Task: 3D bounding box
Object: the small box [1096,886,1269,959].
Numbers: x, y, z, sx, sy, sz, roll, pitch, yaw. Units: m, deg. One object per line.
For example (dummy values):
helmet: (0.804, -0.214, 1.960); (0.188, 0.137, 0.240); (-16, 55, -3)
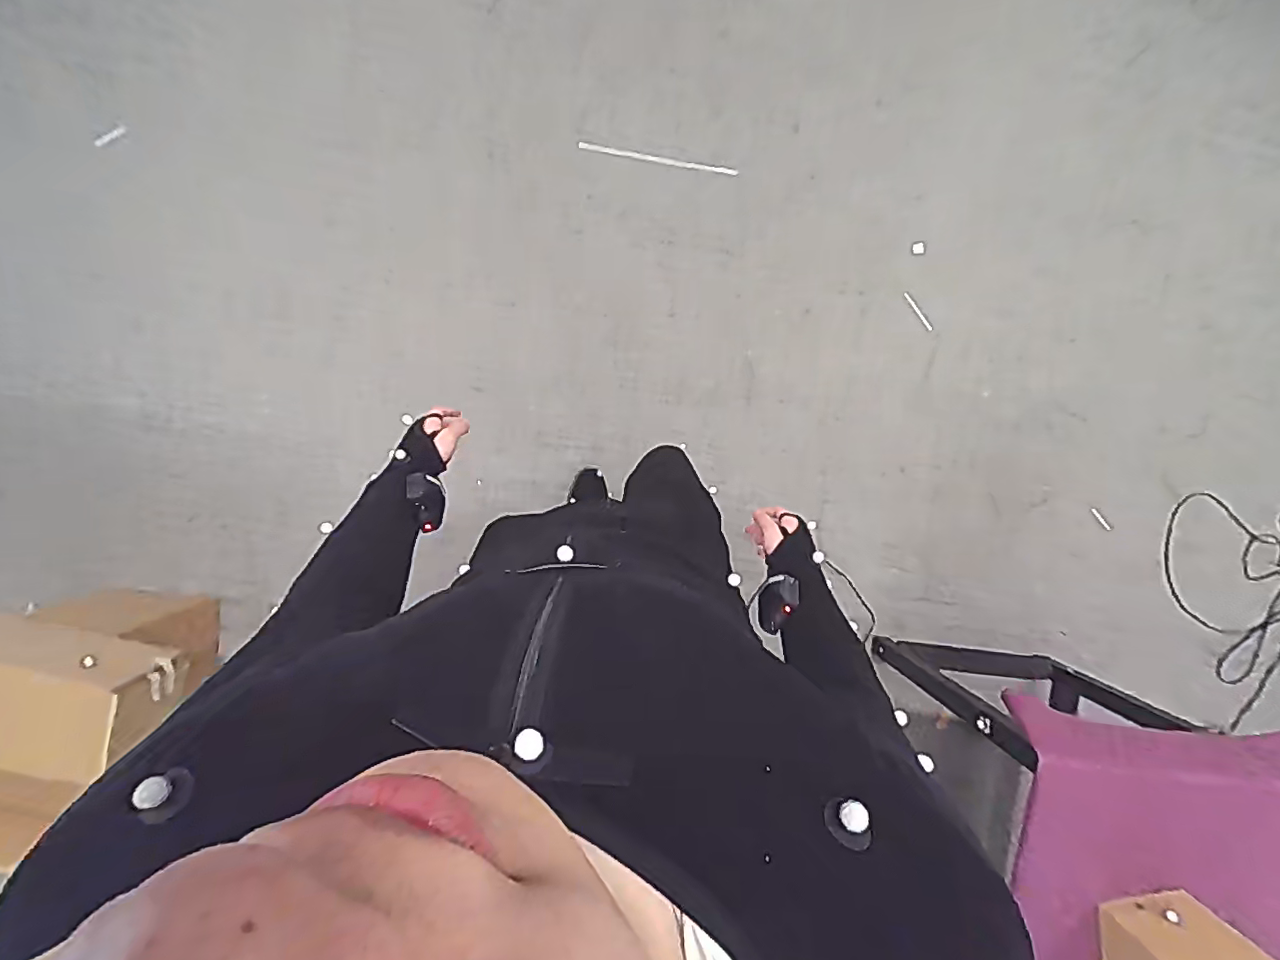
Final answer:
small box: (0.918, 0.838, 0.909); (0.168, 0.176, 0.179); (-6, 92, -4)
